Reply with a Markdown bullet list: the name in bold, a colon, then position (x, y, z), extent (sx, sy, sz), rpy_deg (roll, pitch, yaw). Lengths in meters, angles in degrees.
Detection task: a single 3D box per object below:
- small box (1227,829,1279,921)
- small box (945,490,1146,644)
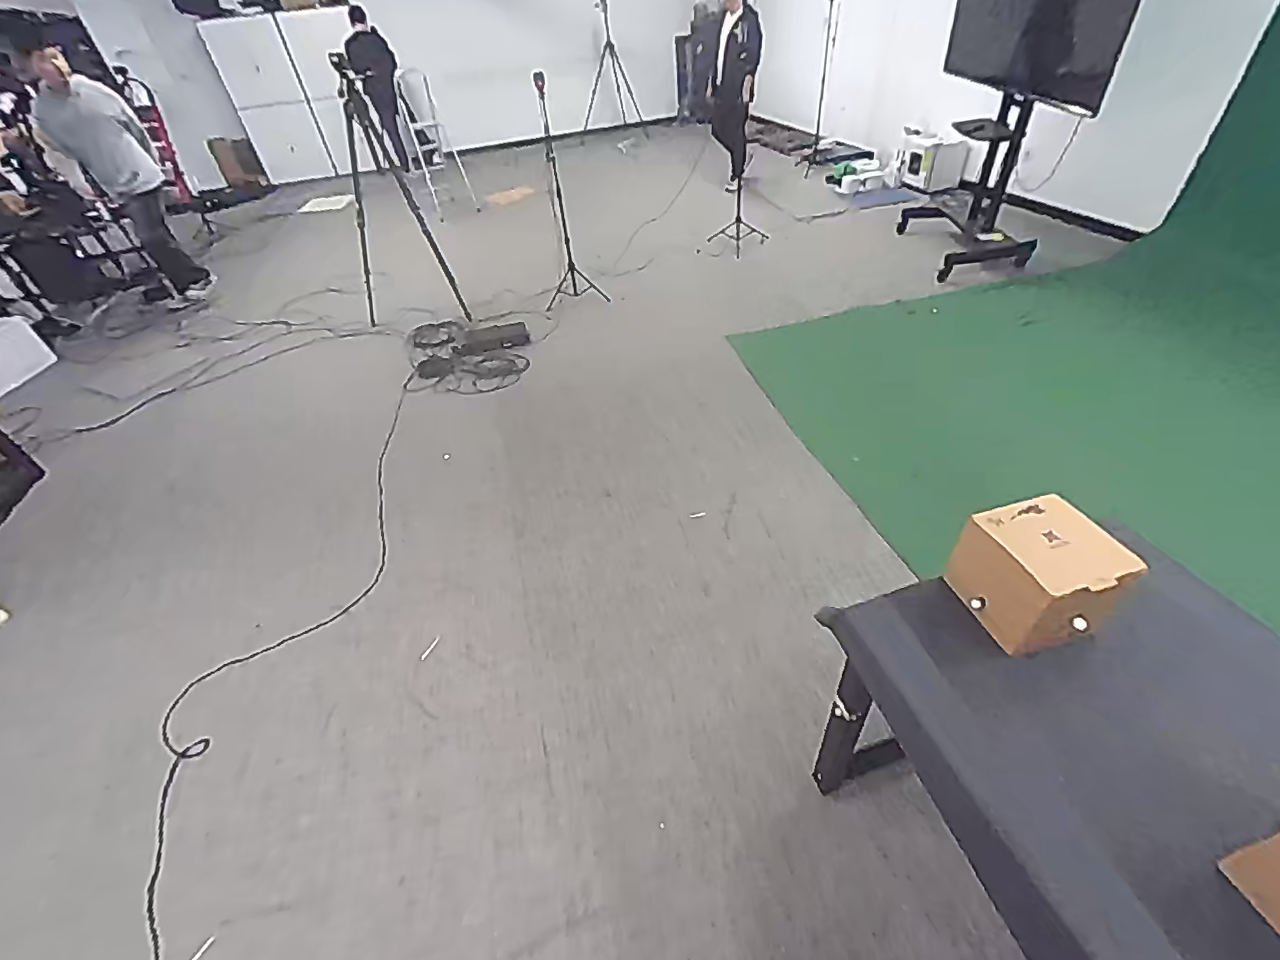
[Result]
- **small box**: position (0.794, 0.436, 0.554), extent (0.168, 0.176, 0.179), rpy_deg (-14, 43, -8)
- **small box**: position (0.649, 0.150, 0.894), extent (0.168, 0.176, 0.179), rpy_deg (-13, 43, -7)
